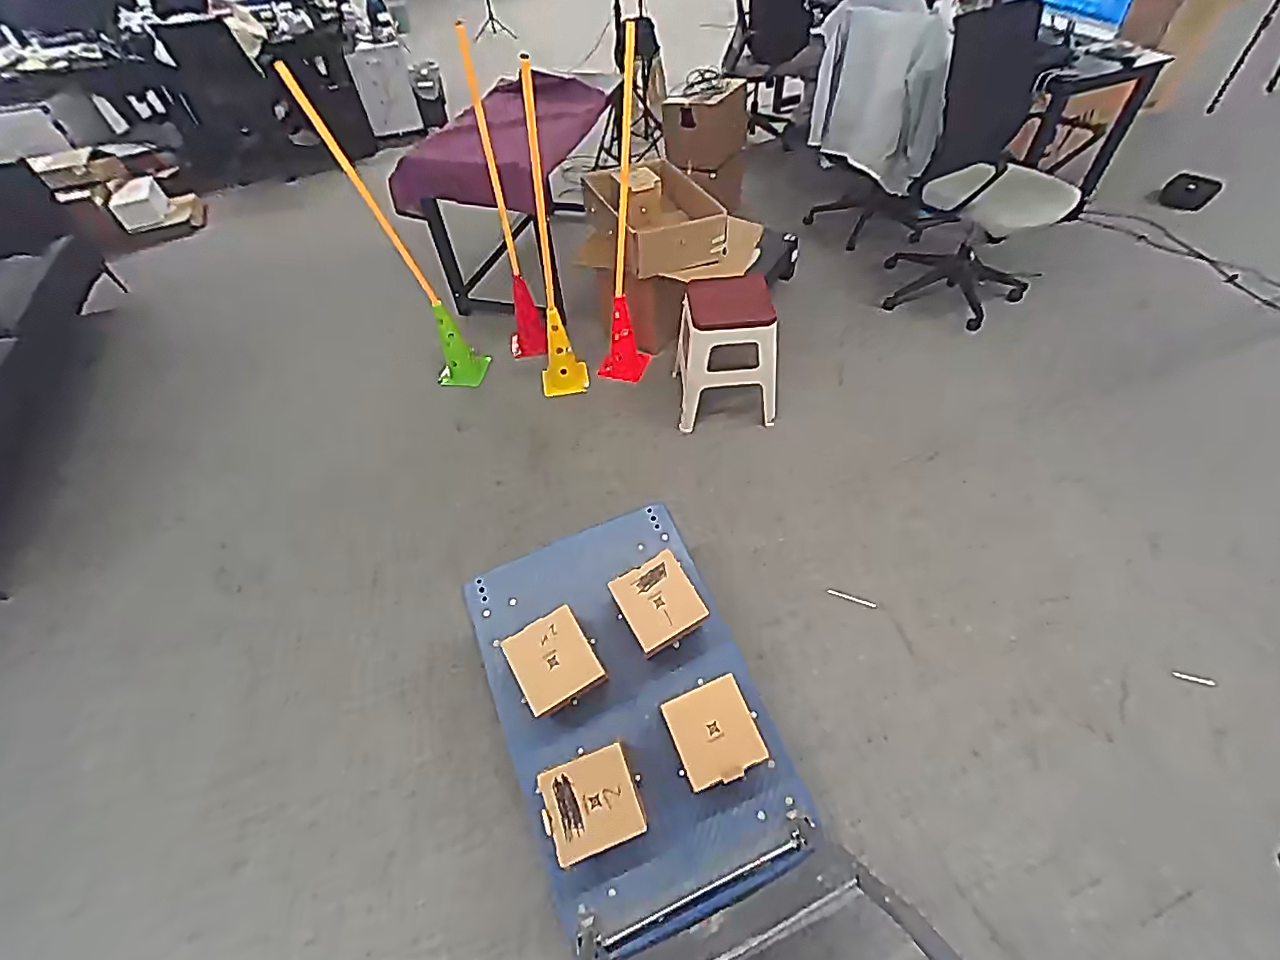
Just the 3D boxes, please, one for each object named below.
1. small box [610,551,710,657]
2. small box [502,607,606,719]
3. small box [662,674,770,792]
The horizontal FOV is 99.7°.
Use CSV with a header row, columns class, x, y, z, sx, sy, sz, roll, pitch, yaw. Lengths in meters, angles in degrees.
class,x,y,z,sx,sy,sz,roll,pitch,yaw
small box,0.042,0.297,1.271,0.168,0.176,0.179,-28,70,-11
small box,-0.186,0.414,1.223,0.168,0.176,0.179,-28,70,-12
small box,0.152,0.541,1.168,0.168,0.176,0.179,-21,69,-8
